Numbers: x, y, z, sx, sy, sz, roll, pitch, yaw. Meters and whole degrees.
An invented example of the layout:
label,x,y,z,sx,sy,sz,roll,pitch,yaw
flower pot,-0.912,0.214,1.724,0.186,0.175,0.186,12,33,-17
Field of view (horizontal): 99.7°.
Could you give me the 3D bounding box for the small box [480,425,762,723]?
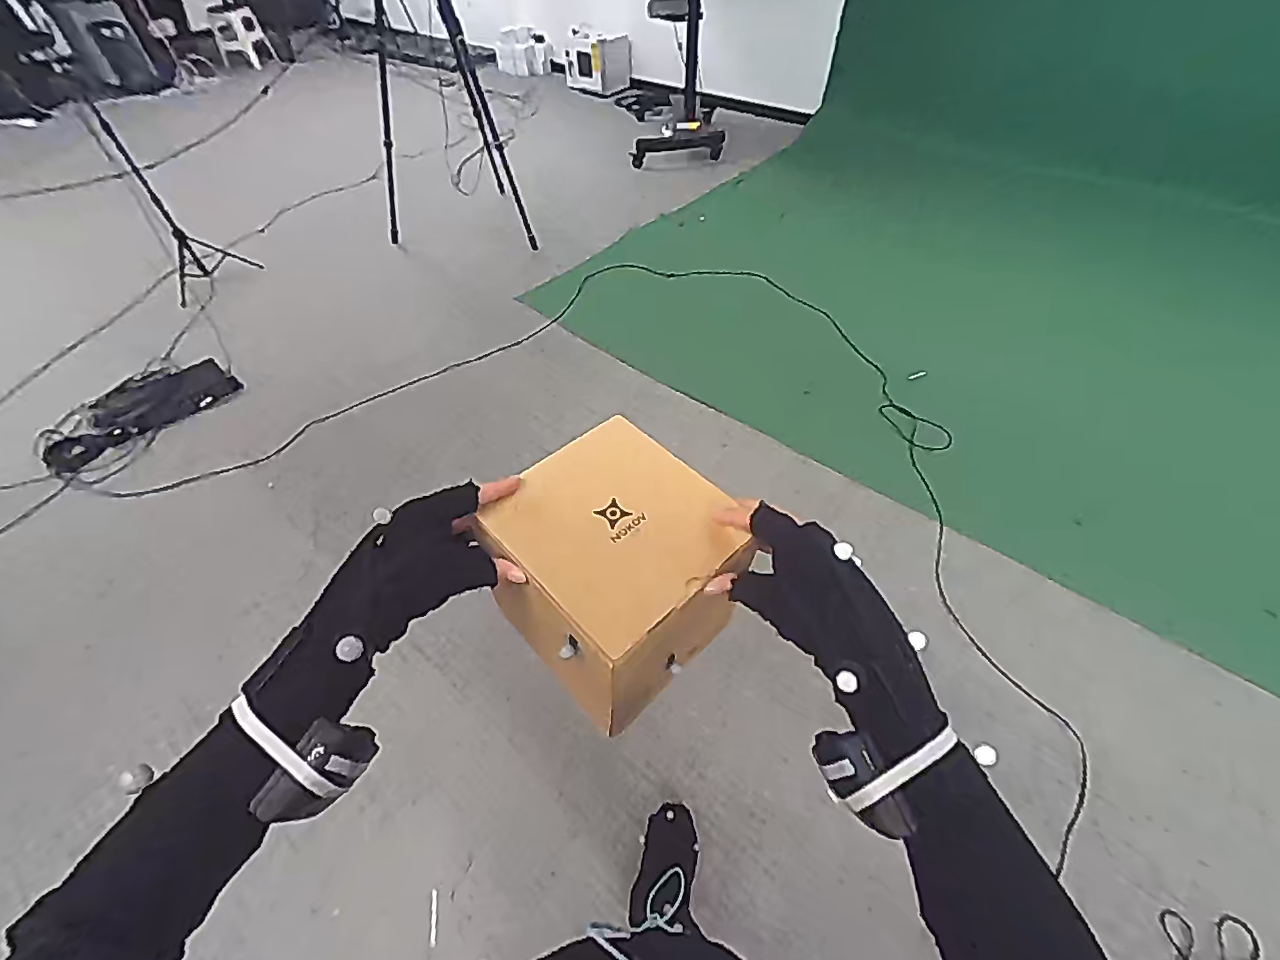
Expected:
label,x,y,z,sx,sy,sz,roll,pitch,yaw
small box,-0.022,0.086,0.501,0.168,0.176,0.179,-34,60,-29
